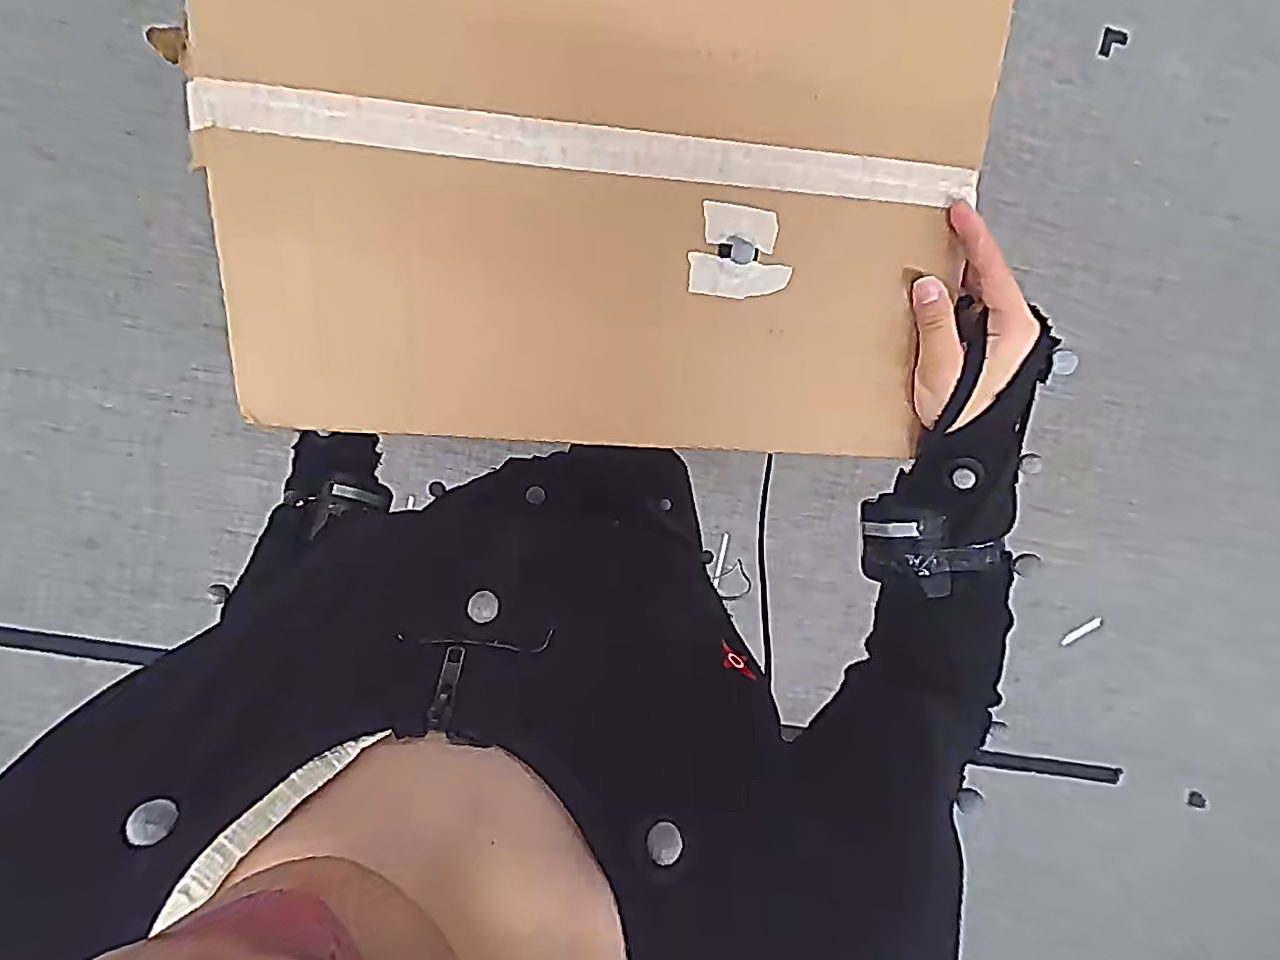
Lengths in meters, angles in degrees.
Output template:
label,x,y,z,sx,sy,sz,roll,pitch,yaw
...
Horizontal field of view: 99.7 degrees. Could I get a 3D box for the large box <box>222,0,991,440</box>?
label,x,y,z,sx,sy,sz,roll,pitch,yaw
large box,-0.028,-0.214,0.440,0.408,0.320,0.320,2,105,-8
